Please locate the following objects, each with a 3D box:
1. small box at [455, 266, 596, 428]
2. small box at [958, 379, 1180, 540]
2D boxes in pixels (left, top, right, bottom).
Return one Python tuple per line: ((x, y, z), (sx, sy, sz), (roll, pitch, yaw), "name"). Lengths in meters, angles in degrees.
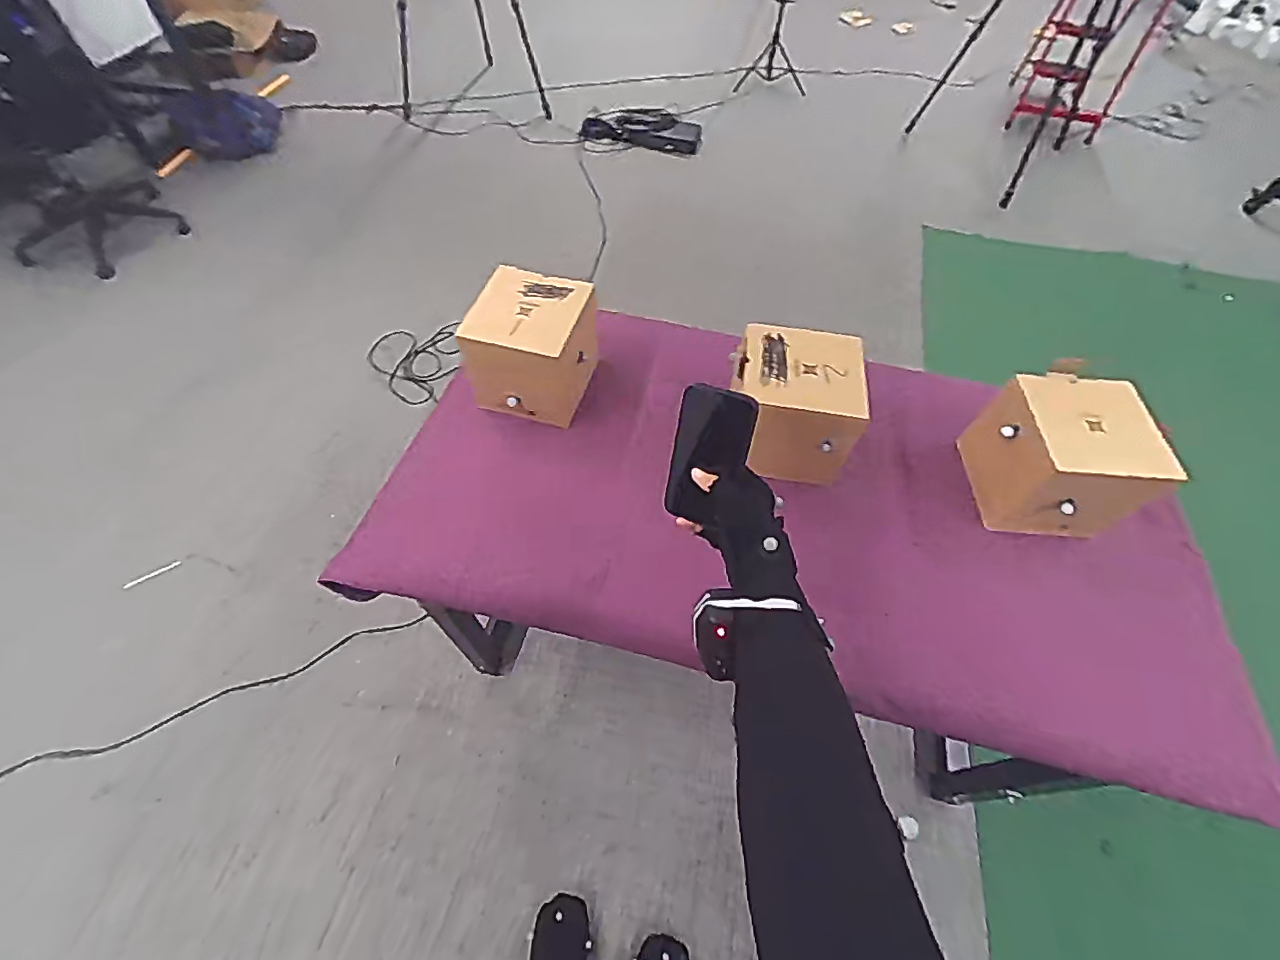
((-0.176, -0.217, 0.895), (0.168, 0.176, 0.179), (14, 58, 7), "small box")
((0.609, -0.025, 0.799), (0.168, 0.176, 0.179), (4, 55, 1), "small box")
